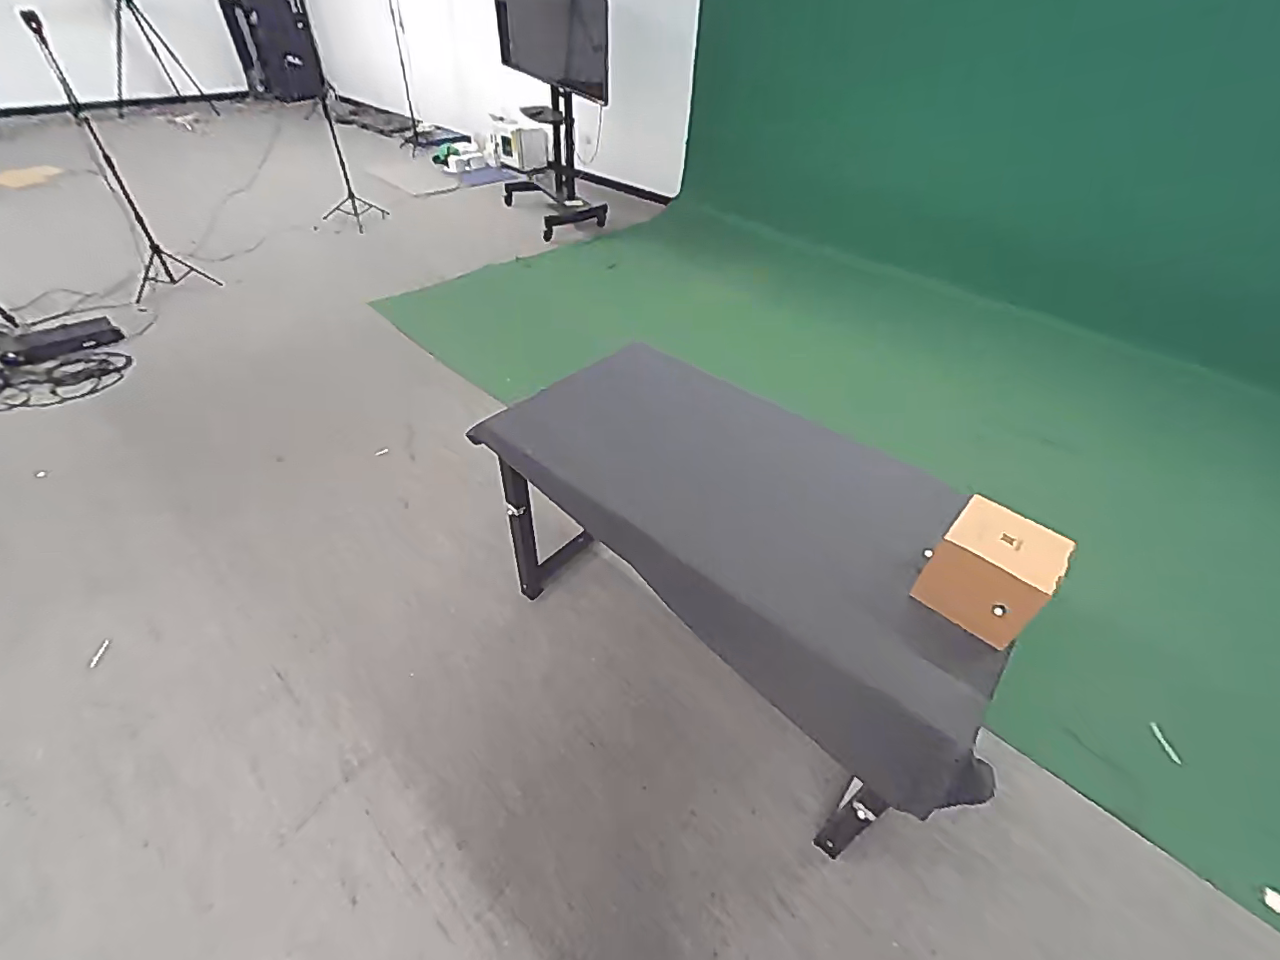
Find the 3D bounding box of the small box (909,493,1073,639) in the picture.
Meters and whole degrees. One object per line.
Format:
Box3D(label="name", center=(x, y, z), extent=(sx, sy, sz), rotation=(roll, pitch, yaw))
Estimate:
Box3D(label="small box", center=(0.634, 0.163, 0.991), extent=(0.179, 0.176, 0.168), rotation=(33, 49, 30))
